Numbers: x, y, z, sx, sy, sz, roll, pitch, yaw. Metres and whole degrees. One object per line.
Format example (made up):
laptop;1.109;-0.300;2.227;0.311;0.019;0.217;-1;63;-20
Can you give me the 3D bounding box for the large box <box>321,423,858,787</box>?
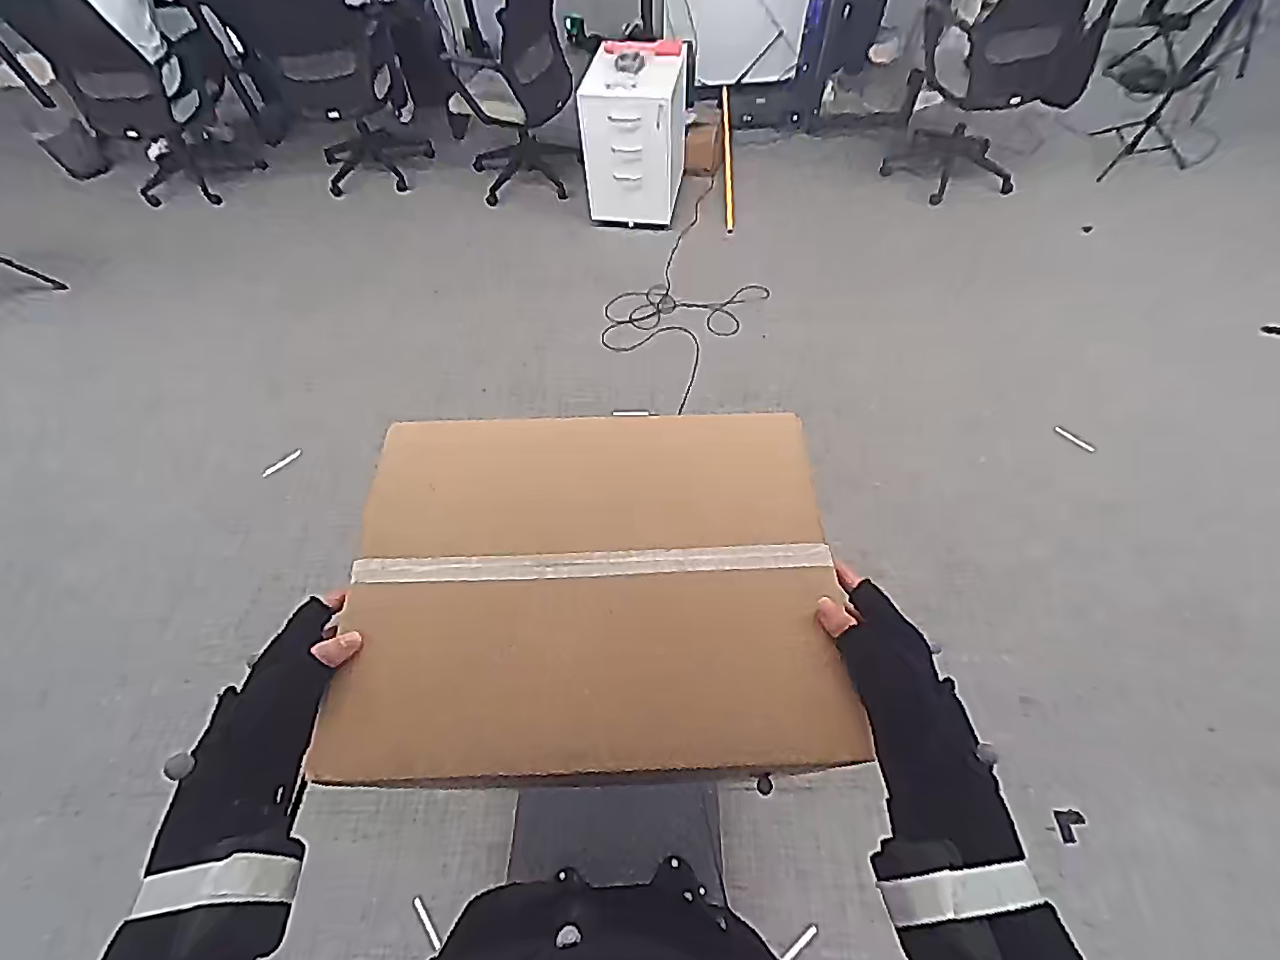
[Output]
large box;-0.040;0.154;0.598;0.408;0.320;0.320;-1;59;-2
